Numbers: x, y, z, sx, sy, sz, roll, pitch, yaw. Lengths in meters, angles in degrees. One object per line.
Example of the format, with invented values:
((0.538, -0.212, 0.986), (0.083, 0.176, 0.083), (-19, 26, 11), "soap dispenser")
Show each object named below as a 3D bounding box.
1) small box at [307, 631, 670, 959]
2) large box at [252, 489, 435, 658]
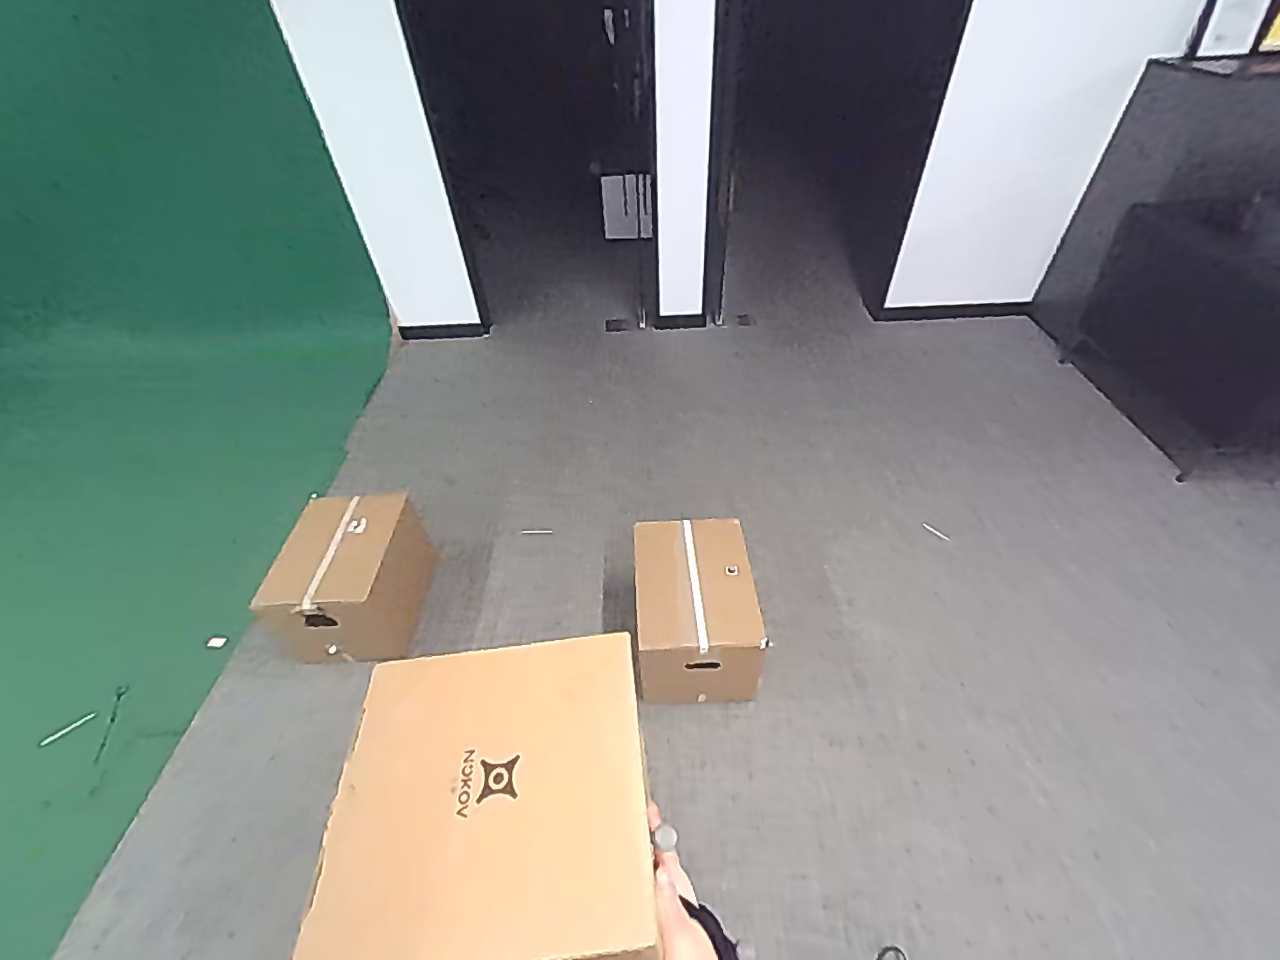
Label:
((-0.074, 0.225, 0.367), (0.179, 0.176, 0.168), (-7, 44, -1), "small box")
((-0.870, 0.283, 1.659), (0.320, 0.320, 0.408), (-3, 44, 1), "large box")
